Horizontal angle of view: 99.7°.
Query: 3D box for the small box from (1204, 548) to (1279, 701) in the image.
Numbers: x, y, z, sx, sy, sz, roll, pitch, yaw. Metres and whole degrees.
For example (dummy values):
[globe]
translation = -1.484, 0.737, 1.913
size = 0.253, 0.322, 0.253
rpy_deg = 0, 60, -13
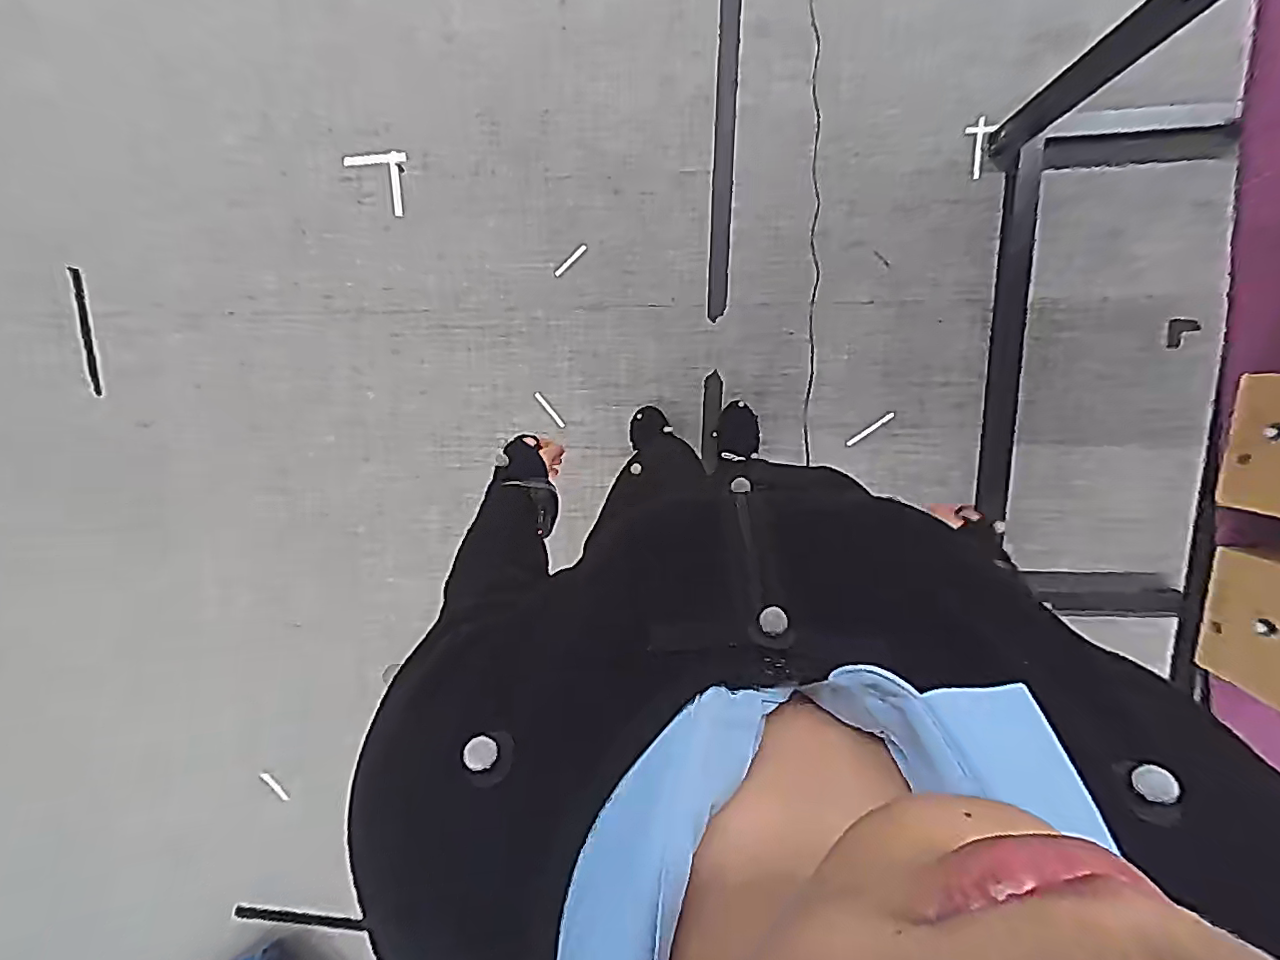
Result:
[small box]
translation = 0.822, 0.181, 0.619
size = 0.179, 0.176, 0.168
rpy_deg = 2, 100, 5
